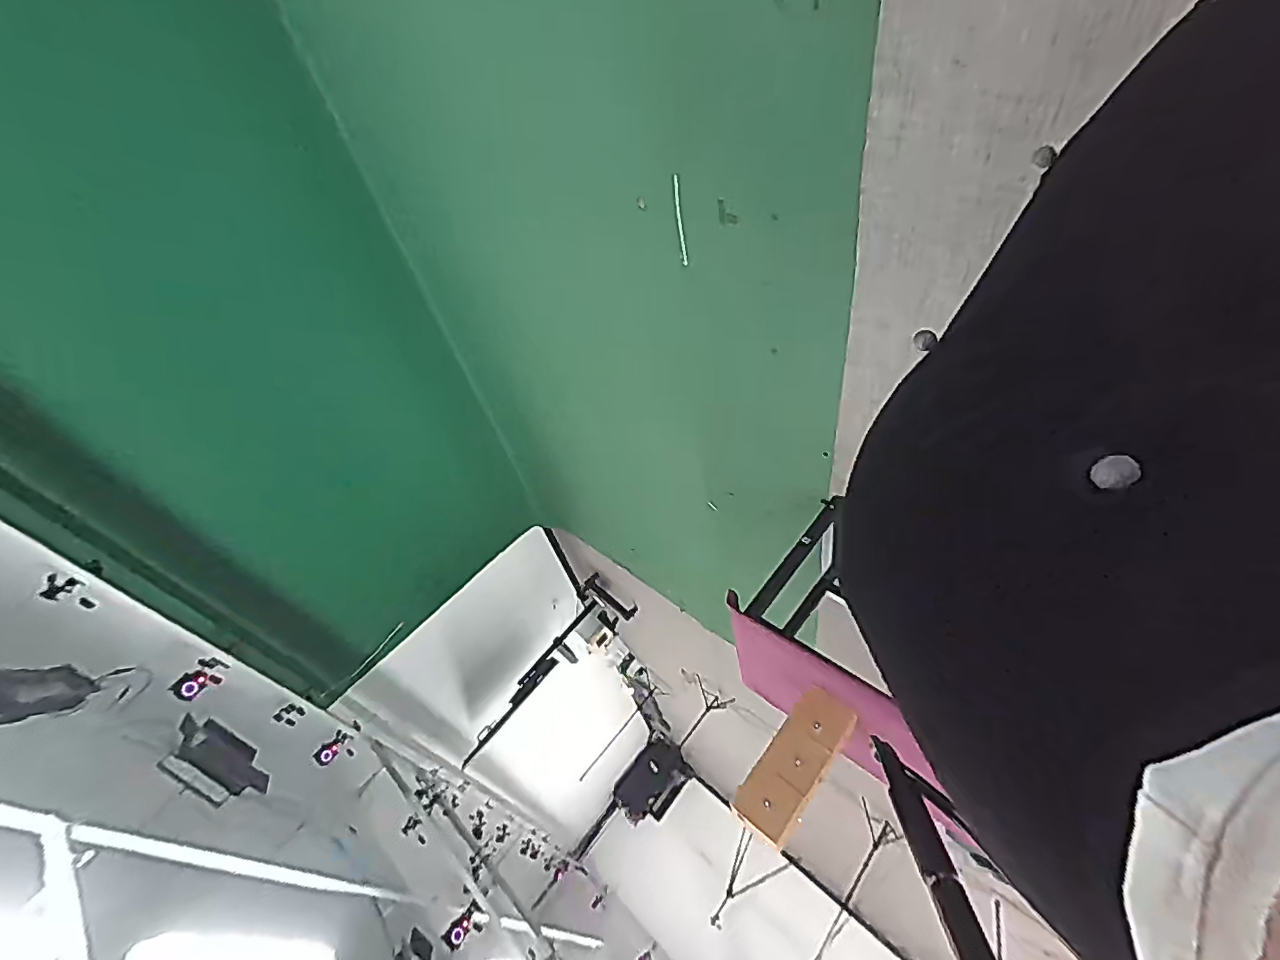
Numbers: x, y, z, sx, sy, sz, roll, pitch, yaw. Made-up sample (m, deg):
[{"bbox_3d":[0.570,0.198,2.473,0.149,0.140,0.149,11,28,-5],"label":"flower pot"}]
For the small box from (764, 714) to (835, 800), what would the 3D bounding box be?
[{"bbox_3d":[0.538,0.931,1.825,0.179,0.176,0.168,26,149,33],"label":"small box"}]

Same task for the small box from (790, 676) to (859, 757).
[{"bbox_3d":[0.643,0.824,1.891,0.179,0.176,0.168,28,151,32],"label":"small box"}]

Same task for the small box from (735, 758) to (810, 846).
[{"bbox_3d":[0.432,1.038,1.759,0.179,0.176,0.168,26,149,34],"label":"small box"}]
